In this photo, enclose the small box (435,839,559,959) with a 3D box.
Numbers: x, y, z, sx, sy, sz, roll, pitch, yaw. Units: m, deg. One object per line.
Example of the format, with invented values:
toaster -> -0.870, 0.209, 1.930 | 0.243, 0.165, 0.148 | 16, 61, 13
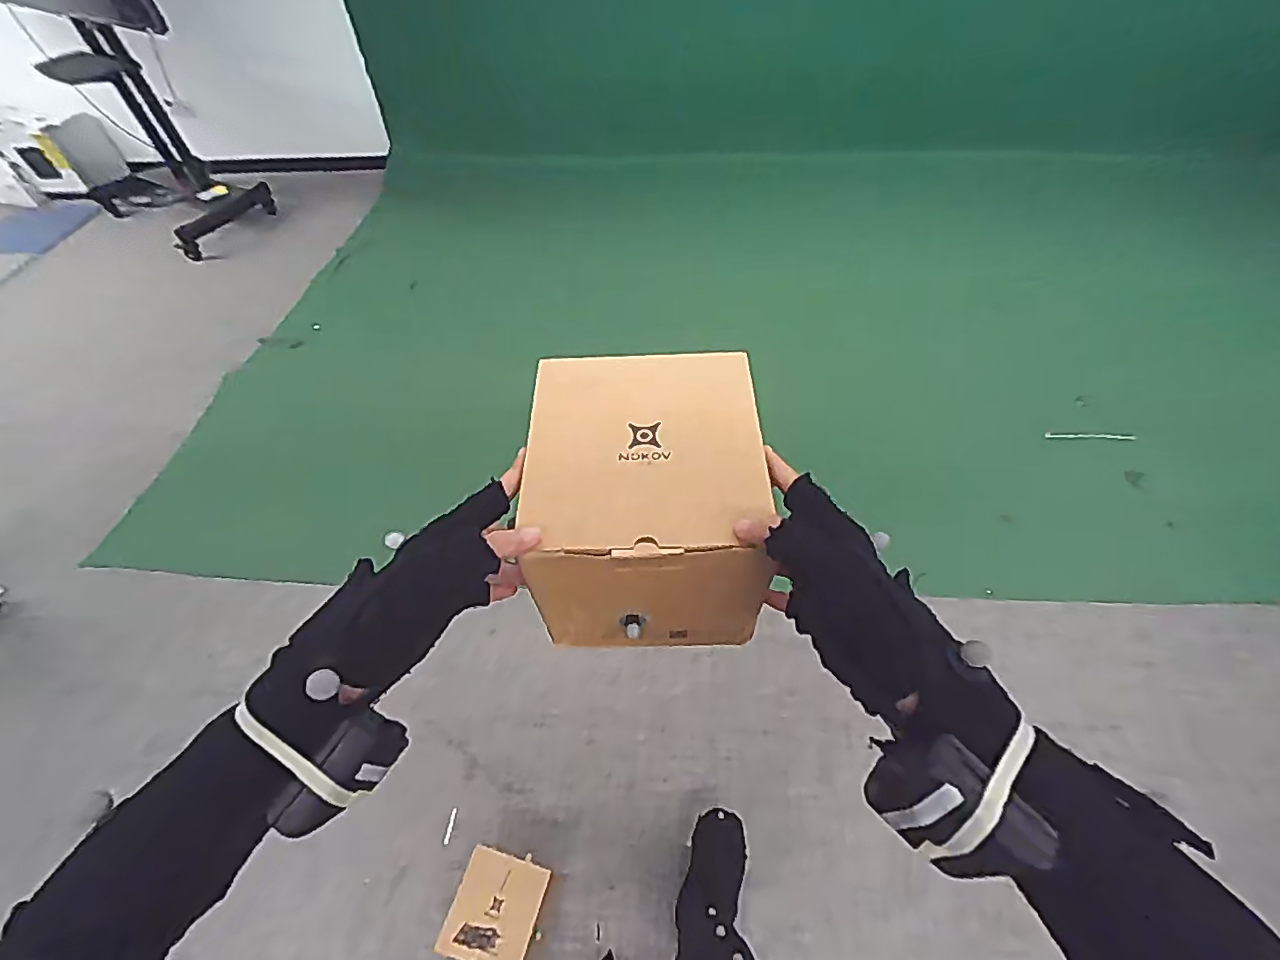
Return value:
small box -> -0.274, 0.858, 1.087 | 0.168, 0.176, 0.179 | 12, 51, 11
